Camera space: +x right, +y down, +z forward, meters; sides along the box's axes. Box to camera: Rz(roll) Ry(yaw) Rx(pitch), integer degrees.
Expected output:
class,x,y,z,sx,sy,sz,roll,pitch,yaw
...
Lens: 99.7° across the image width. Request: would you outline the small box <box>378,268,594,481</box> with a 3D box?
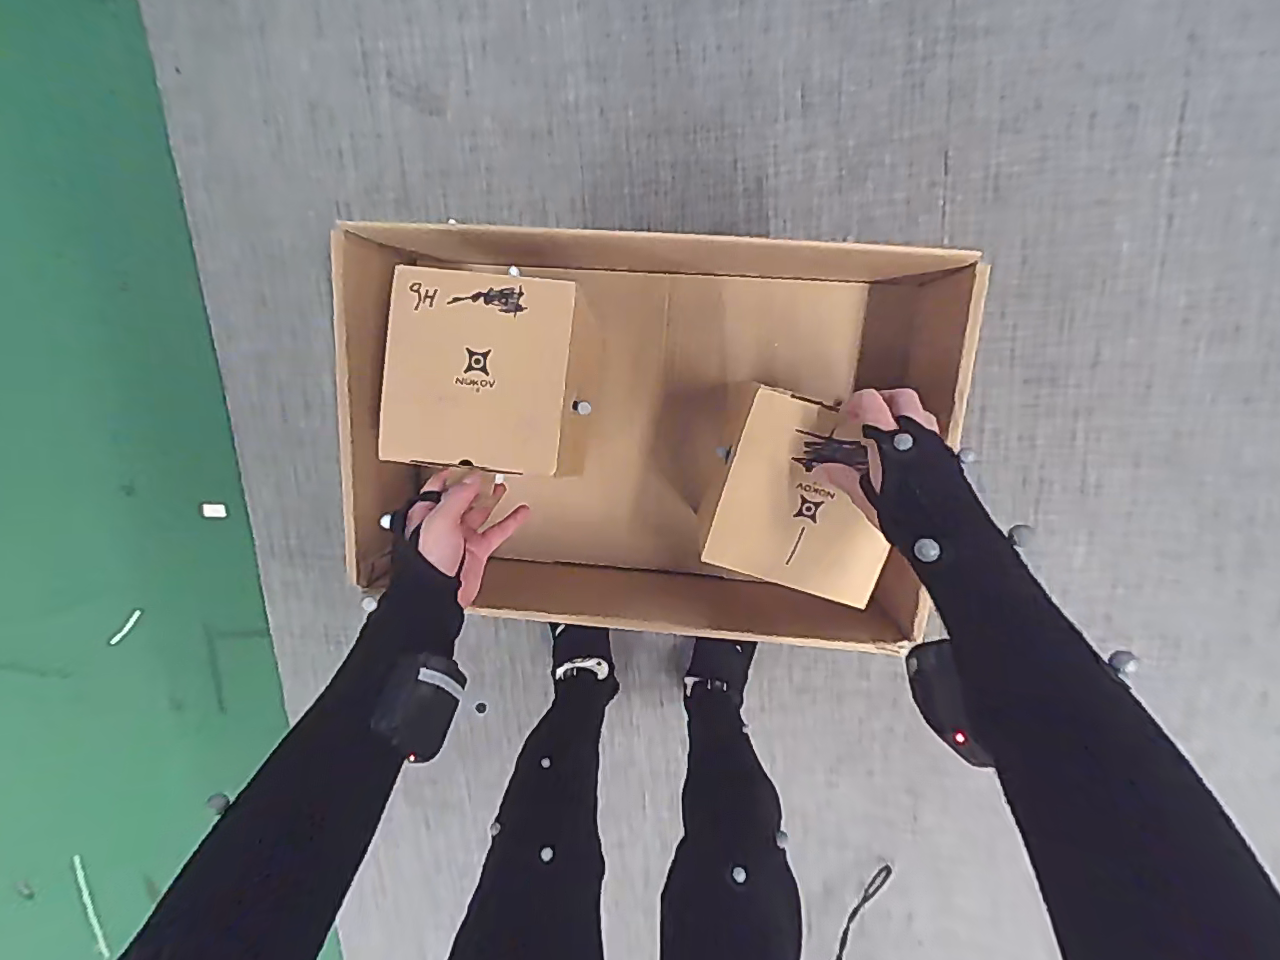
class,x,y,z,sx,sy,sz,roll,pitch,yaw
small box,-0.145,-0.098,0.562,0.168,0.176,0.179,7,93,2
